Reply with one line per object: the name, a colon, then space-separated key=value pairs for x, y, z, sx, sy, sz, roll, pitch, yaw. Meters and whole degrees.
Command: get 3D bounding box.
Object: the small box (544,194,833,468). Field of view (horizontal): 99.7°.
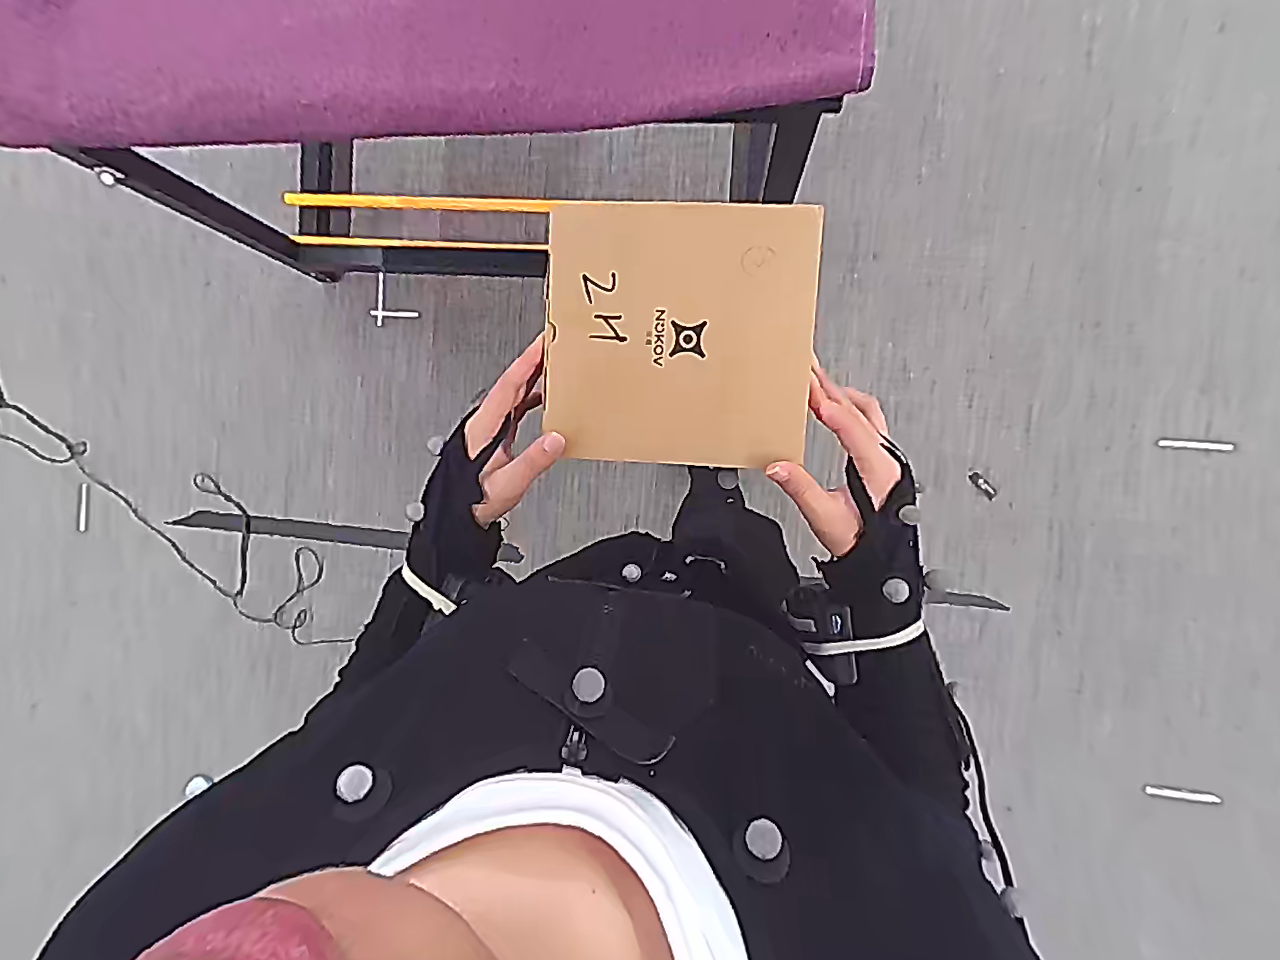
small box: x=0.036 y=-0.102 z=0.423 sx=0.179 sy=0.176 sz=0.168 roll=4 pitch=95 yaw=7
